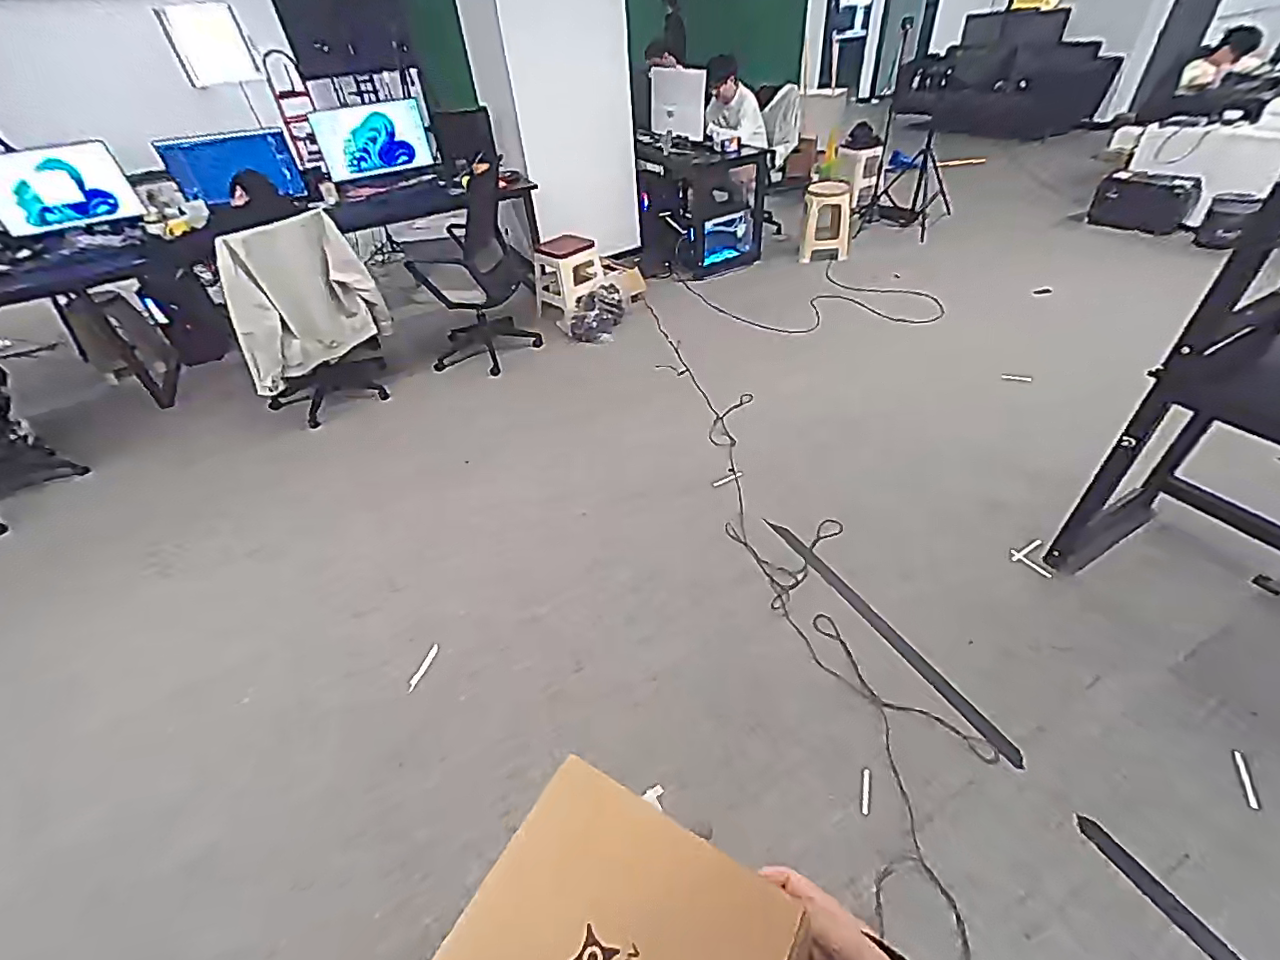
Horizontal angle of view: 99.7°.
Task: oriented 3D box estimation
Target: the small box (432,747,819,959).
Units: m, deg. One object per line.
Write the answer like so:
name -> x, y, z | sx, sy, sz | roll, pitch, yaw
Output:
small box -> 0.000, 0.316, 0.341 | 0.179, 0.176, 0.168 | 15, 49, 32
